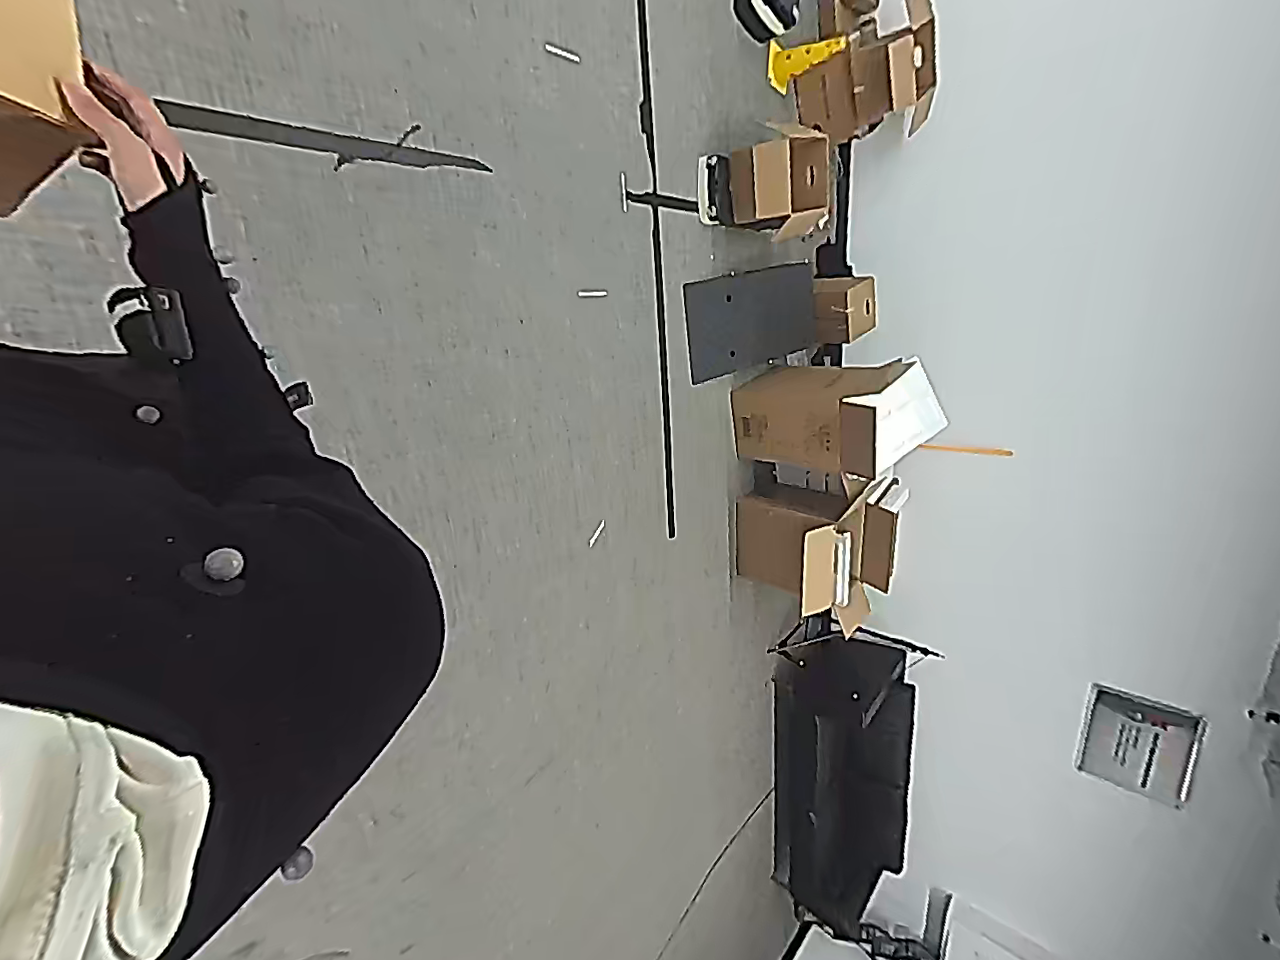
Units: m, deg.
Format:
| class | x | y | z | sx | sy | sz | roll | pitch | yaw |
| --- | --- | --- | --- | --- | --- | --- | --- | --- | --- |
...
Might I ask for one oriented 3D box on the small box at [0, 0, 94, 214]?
| class | x | y | z | sx | sy | sz | roll | pitch | yaw |
| --- | --- | --- | --- | --- | --- | --- | --- | --- | --- |
| small box | -0.557 | -0.337 | 0.395 | 0.168 | 0.176 | 0.179 | -3 | 81 | -66 |
